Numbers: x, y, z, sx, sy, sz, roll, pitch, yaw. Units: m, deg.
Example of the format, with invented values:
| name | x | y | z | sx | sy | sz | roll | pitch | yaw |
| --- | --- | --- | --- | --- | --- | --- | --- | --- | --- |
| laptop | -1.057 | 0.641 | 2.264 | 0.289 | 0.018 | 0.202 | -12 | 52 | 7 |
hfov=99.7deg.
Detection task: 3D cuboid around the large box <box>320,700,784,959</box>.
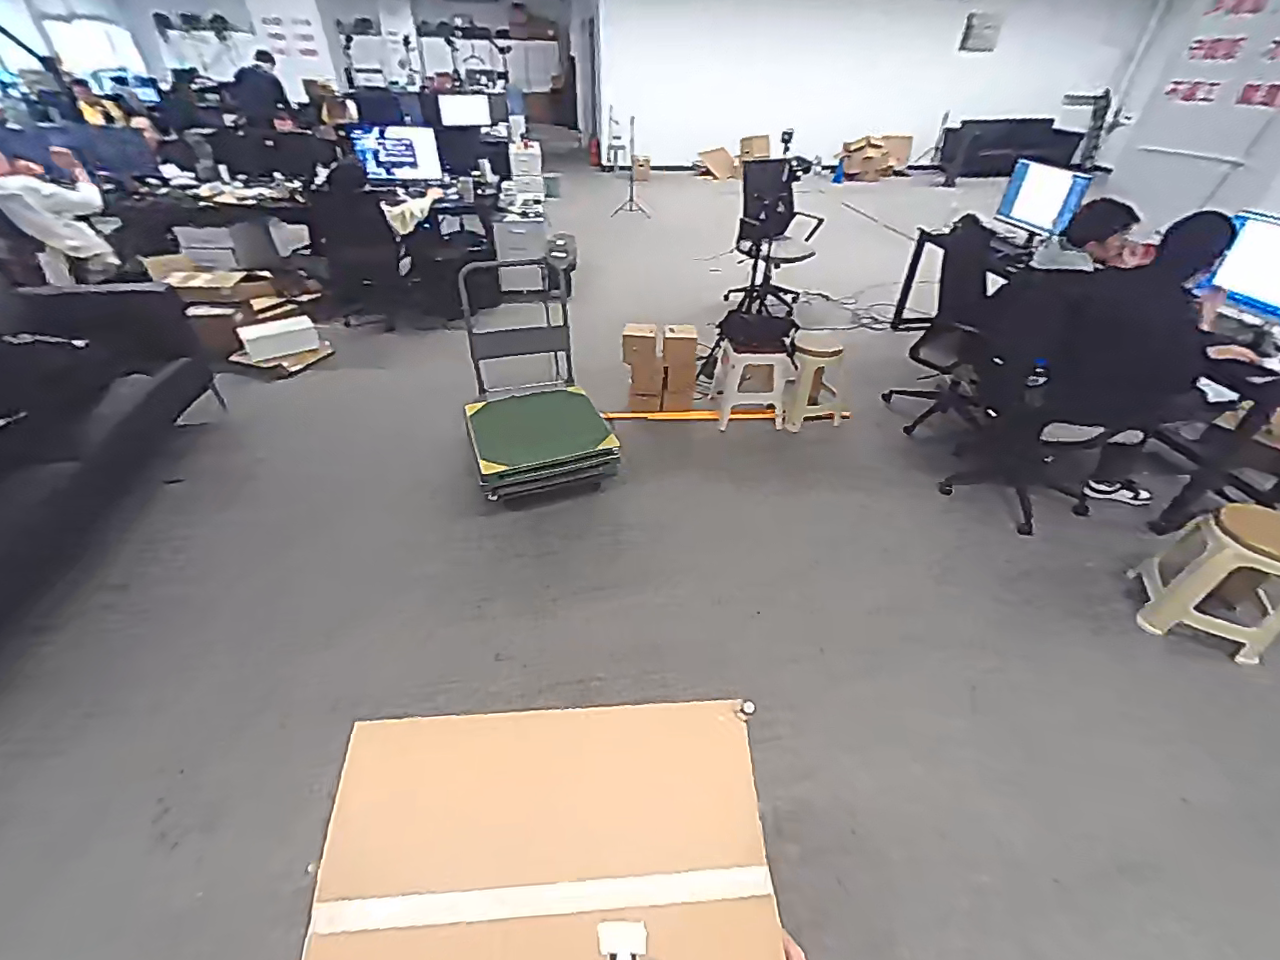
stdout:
| name | x | y | z | sx | sy | sz | roll | pitch | yaw |
| --- | --- | --- | --- | --- | --- | --- | --- | --- | --- |
| large box | -0.084 | 0.461 | 0.611 | 0.408 | 0.320 | 0.320 | -2 | 56 | -4 |
